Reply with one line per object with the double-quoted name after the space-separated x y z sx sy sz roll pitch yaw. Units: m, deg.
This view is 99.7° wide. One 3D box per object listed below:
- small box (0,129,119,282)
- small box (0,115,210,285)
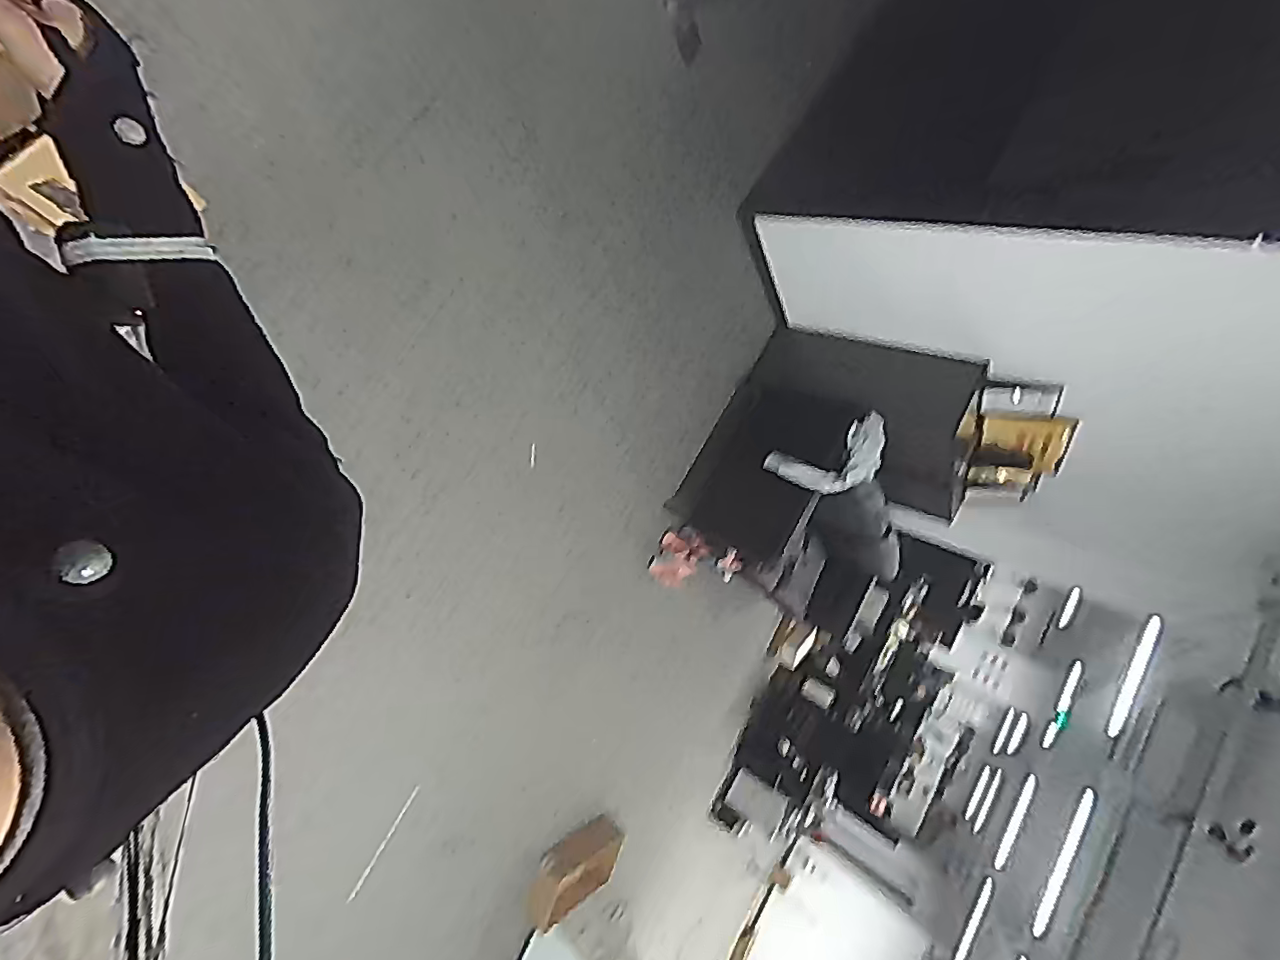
-0.973 -0.484 0.954 0.179 0.176 0.168 -58 144 -10 "small box"
-0.845 -0.440 0.859 0.179 0.176 0.168 -55 143 -15 "small box"
